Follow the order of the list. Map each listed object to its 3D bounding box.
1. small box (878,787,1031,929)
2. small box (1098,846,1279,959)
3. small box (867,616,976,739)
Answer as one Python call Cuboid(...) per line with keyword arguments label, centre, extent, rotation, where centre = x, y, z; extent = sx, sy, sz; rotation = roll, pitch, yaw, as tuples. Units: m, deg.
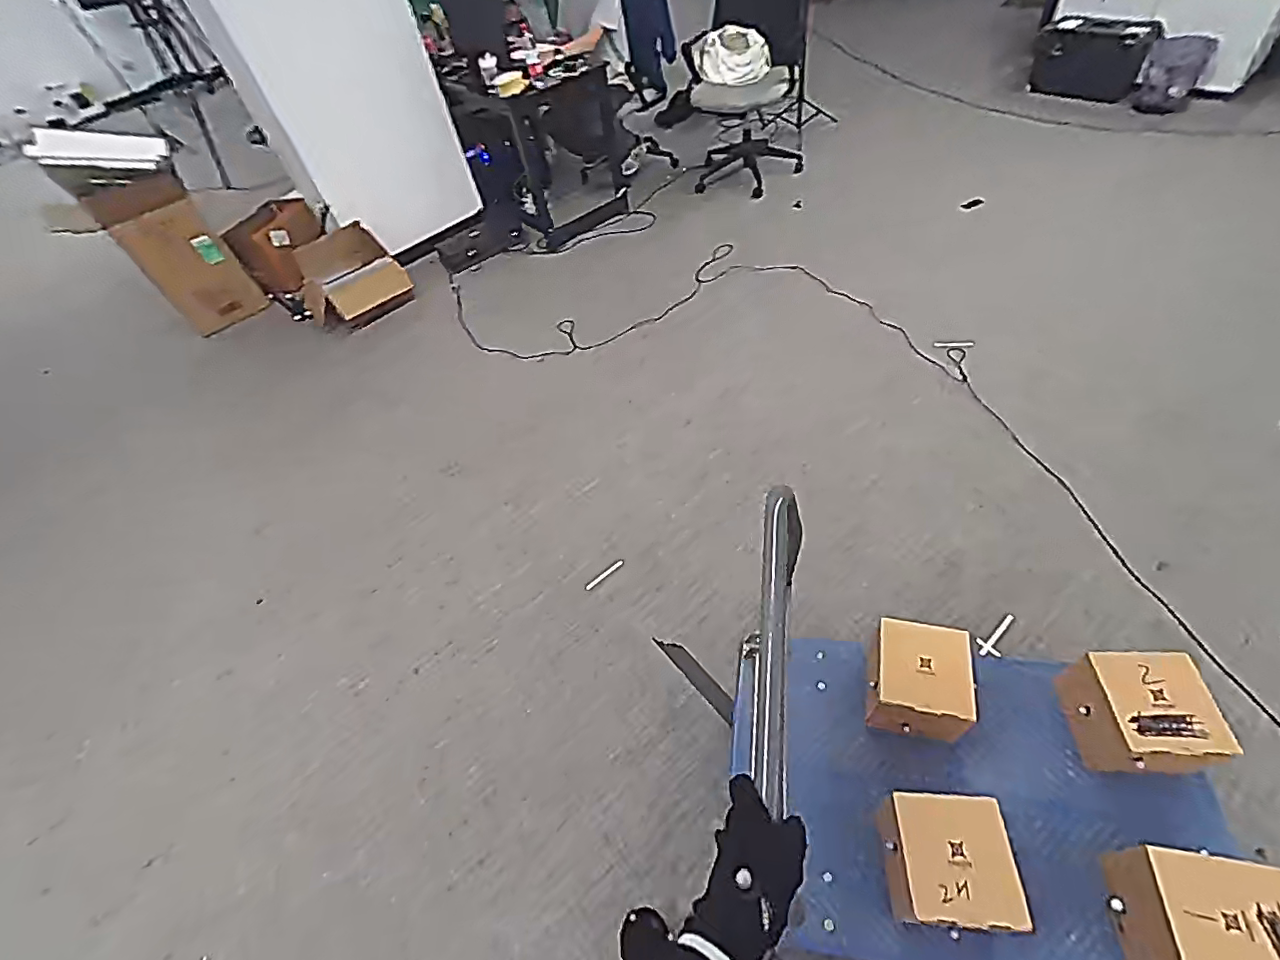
Cuboid(label="small box", centre=(0.519, 0.648, 0.926), extent=(0.168, 0.176, 0.179), rotation=(-2, 51, 11))
Cuboid(label="small box", centre=(0.863, 0.682, 0.828), extent=(0.179, 0.176, 0.168), rotation=(3, 52, 15))
Cuboid(label="small box", centre=(0.568, 0.408, 1.113), extent=(0.168, 0.176, 0.179), rotation=(7, 55, 17))
